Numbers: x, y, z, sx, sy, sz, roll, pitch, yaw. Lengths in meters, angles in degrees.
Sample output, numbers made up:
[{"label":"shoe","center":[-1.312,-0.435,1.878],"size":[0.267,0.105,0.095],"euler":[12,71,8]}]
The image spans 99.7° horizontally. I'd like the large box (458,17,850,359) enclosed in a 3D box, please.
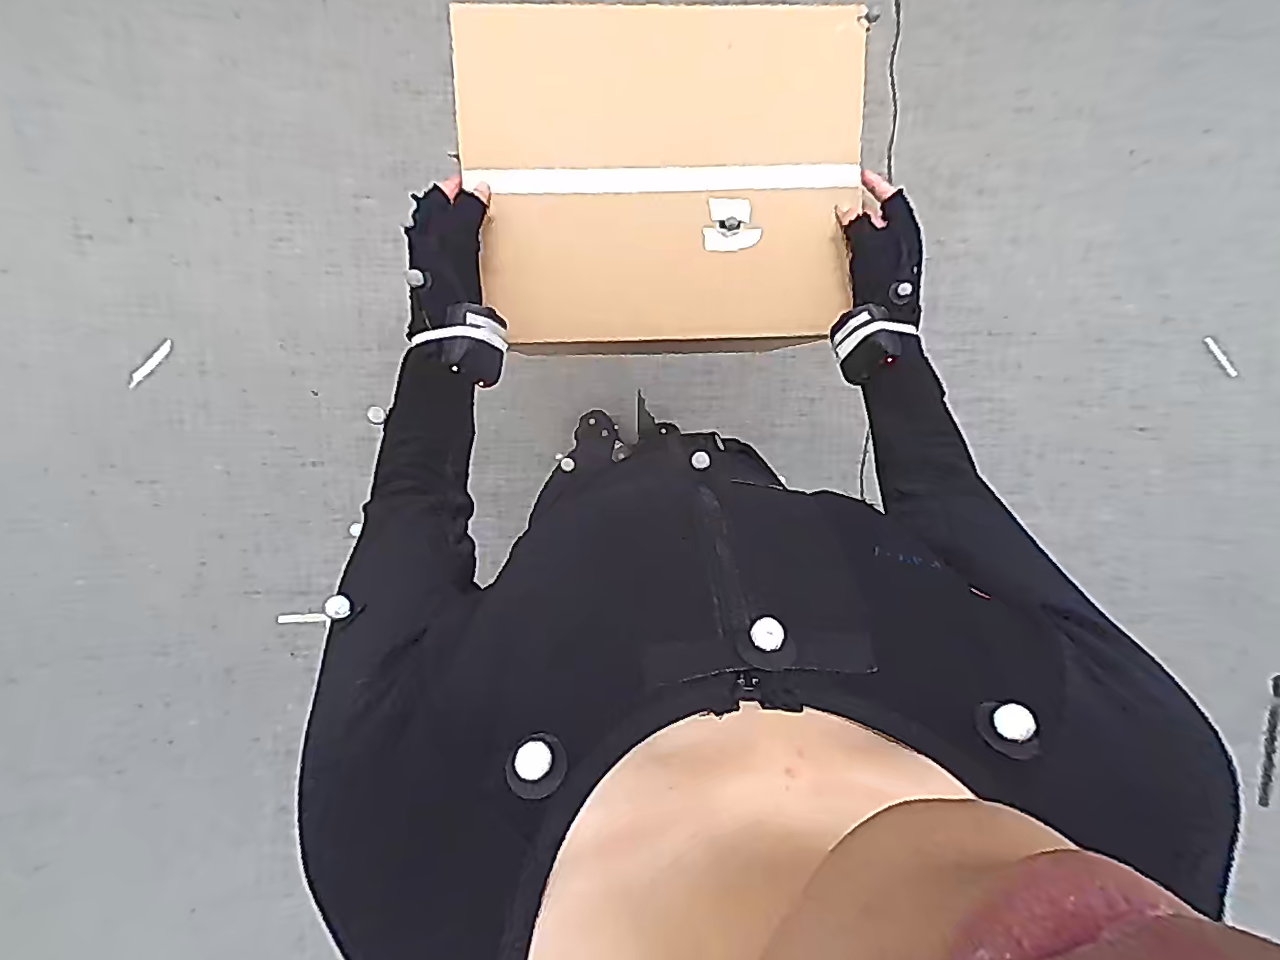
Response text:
[{"label":"large box","center":[0.014,-0.334,0.712],"size":[0.408,0.320,0.320],"euler":[-3,100,-3]}]
